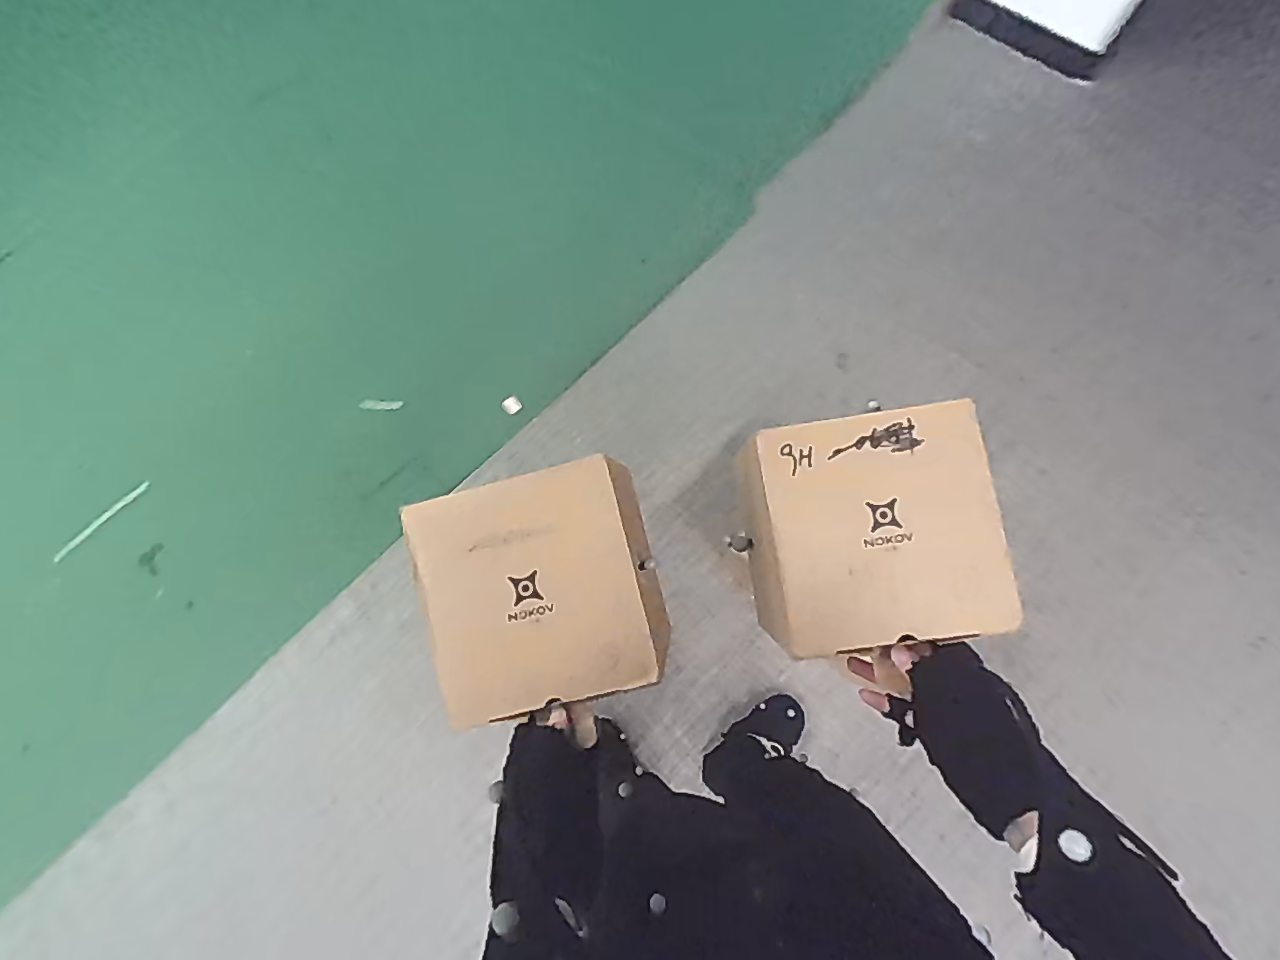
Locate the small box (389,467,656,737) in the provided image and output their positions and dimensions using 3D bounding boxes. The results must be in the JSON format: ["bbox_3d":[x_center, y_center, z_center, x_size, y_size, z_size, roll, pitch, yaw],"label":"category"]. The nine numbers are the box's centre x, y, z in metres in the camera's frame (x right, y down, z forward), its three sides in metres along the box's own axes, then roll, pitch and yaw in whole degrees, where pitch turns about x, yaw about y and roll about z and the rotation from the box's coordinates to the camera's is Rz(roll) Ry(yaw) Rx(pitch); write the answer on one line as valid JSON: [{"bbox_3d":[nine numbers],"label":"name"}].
[{"bbox_3d":[-0.088,0.096,0.491,0.168,0.176,0.179,-17,86,4],"label":"small box"}]
